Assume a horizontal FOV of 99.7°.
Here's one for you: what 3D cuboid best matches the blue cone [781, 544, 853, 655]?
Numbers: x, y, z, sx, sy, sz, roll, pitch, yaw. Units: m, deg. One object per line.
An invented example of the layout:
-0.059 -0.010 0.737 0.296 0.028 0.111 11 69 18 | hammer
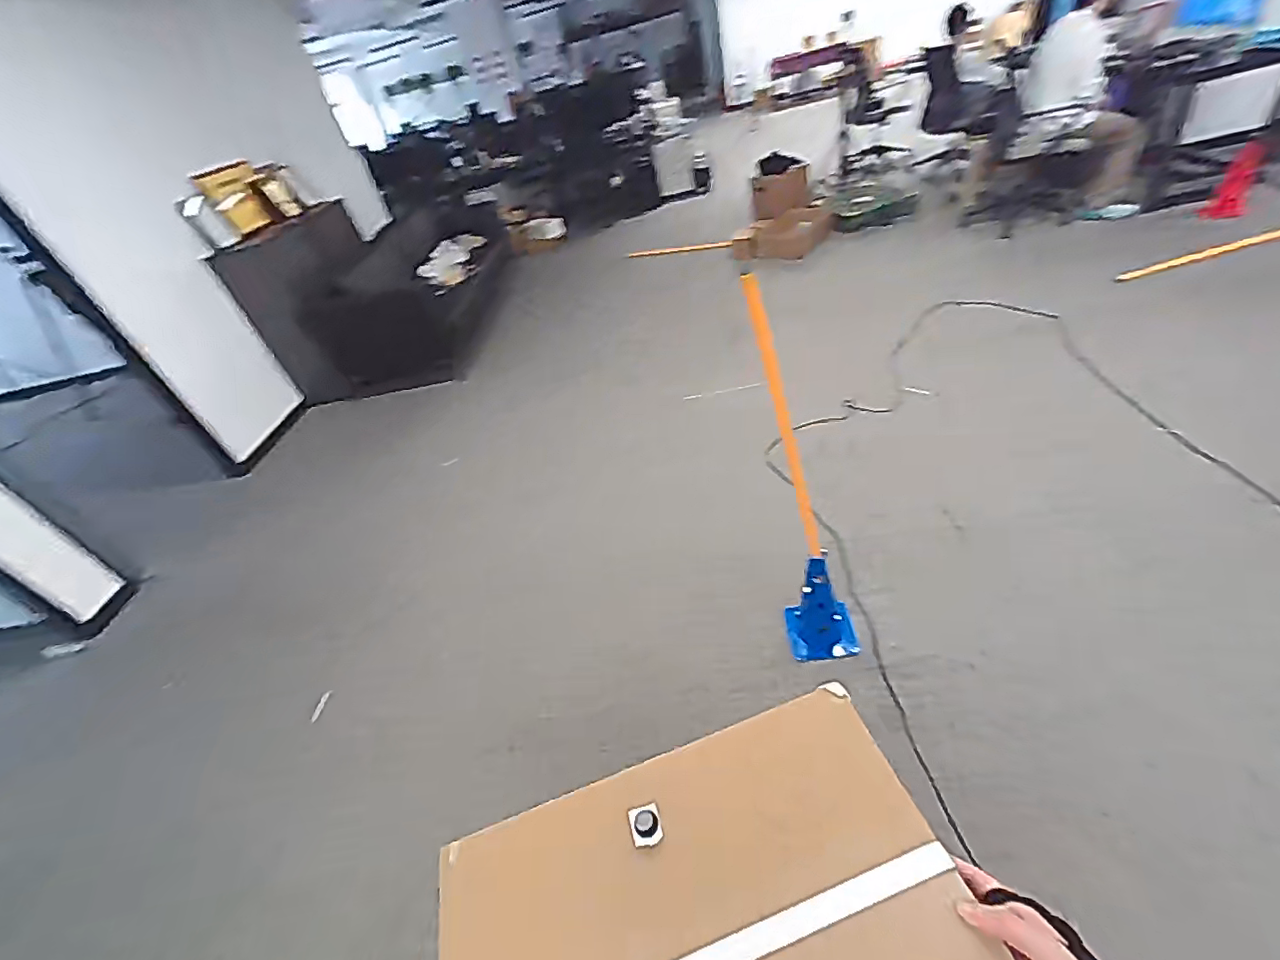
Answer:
0.514 0.335 1.596 0.193 0.380 0.192 -12 38 8 | blue cone
